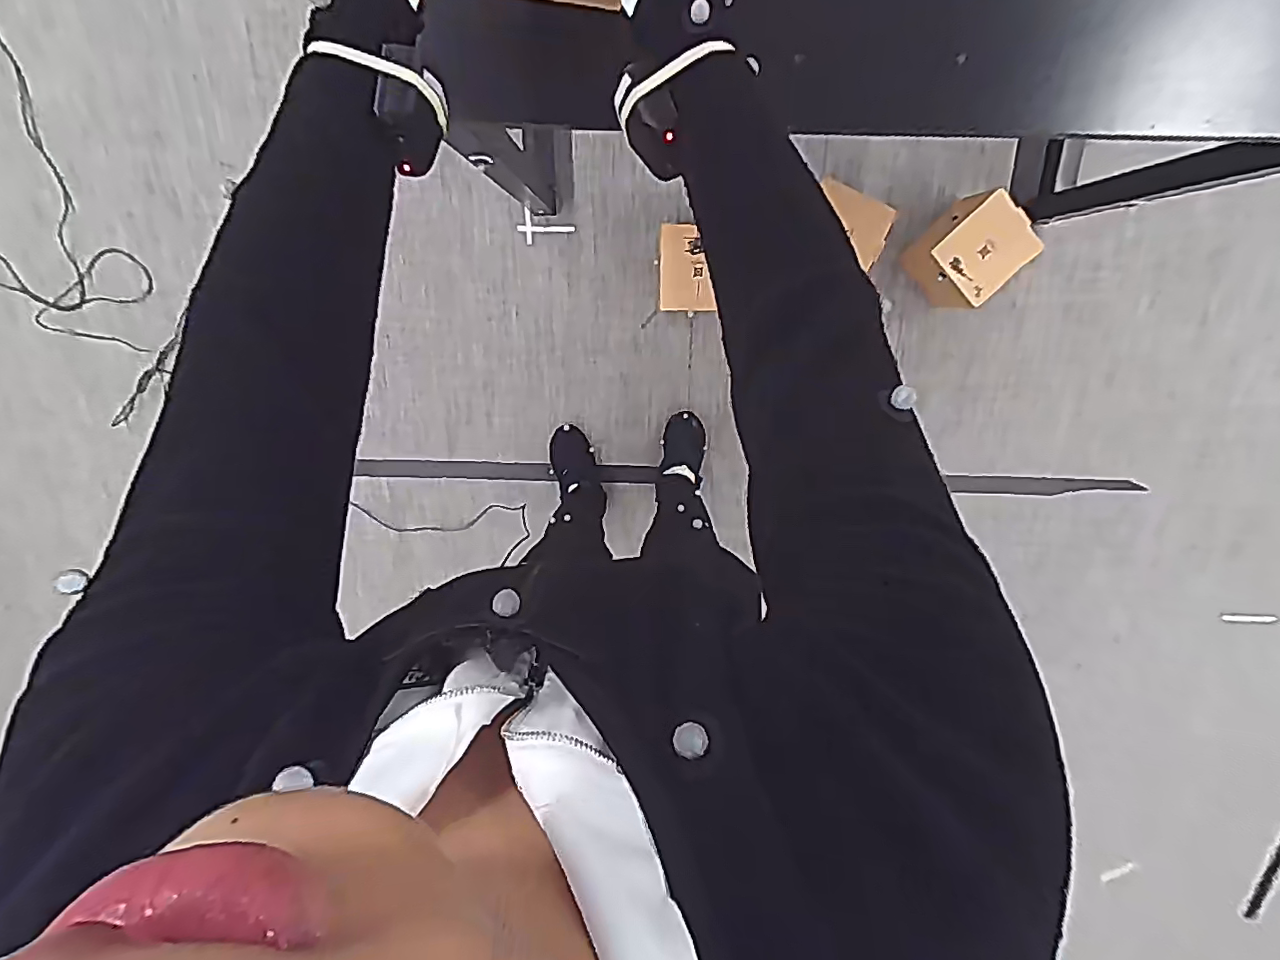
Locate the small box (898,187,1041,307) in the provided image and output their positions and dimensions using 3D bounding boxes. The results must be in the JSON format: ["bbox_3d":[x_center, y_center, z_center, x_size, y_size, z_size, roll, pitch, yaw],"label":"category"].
[{"bbox_3d":[0.720,-0.508,1.203,0.168,0.176,0.179,43,104,-12],"label":"small box"}]

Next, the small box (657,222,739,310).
[{"bbox_3d":[0.123,-0.478,1.222,0.168,0.176,0.179,0,109,1],"label":"small box"}]

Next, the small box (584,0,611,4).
[{"bbox_3d":[-0.091,-0.537,0.437,0.168,0.176,0.179,7,107,-2],"label":"small box"}]

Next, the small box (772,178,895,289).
[{"bbox_3d":[0.418,-0.536,1.201,0.179,0.176,0.168,21,106,-5],"label":"small box"}]
